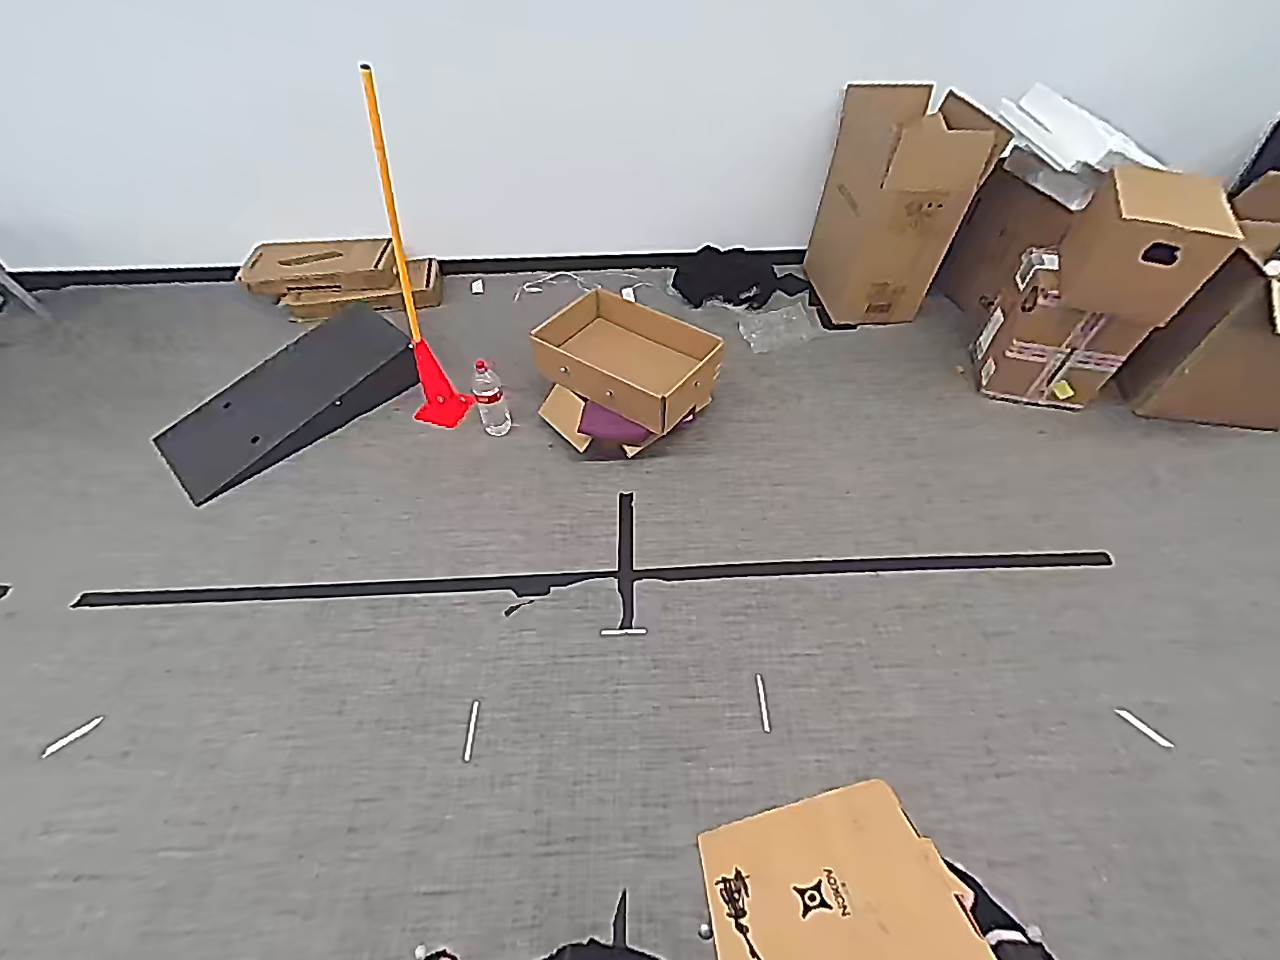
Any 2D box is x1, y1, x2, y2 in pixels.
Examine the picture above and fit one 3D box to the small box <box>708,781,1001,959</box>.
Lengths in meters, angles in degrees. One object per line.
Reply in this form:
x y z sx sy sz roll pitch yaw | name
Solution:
0.169 0.389 0.429 0.179 0.176 0.168 -18 13 2 | small box
